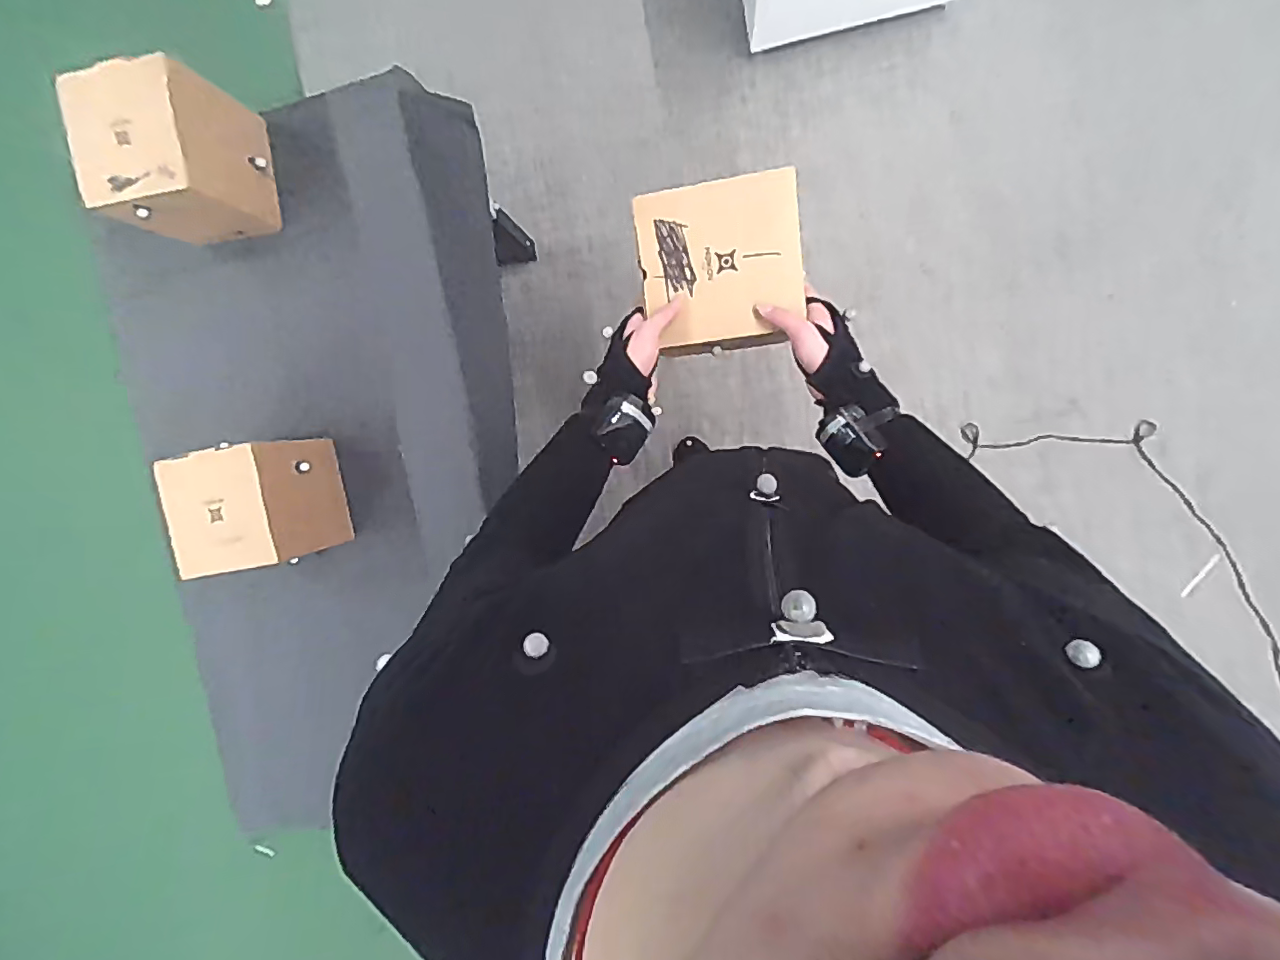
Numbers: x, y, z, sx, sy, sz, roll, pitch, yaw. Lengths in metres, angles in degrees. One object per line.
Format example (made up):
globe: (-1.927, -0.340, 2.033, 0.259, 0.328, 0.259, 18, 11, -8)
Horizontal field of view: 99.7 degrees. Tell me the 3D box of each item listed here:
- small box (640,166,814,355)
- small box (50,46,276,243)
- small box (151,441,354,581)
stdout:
small box: (0.104, -0.246, 0.653, 0.179, 0.176, 0.168, -5, 99, 9)
small box: (-0.673, -0.469, 0.783, 0.168, 0.176, 0.179, -6, 95, 7)
small box: (-0.579, 0.038, 0.832, 0.168, 0.176, 0.179, -11, 96, 9)
